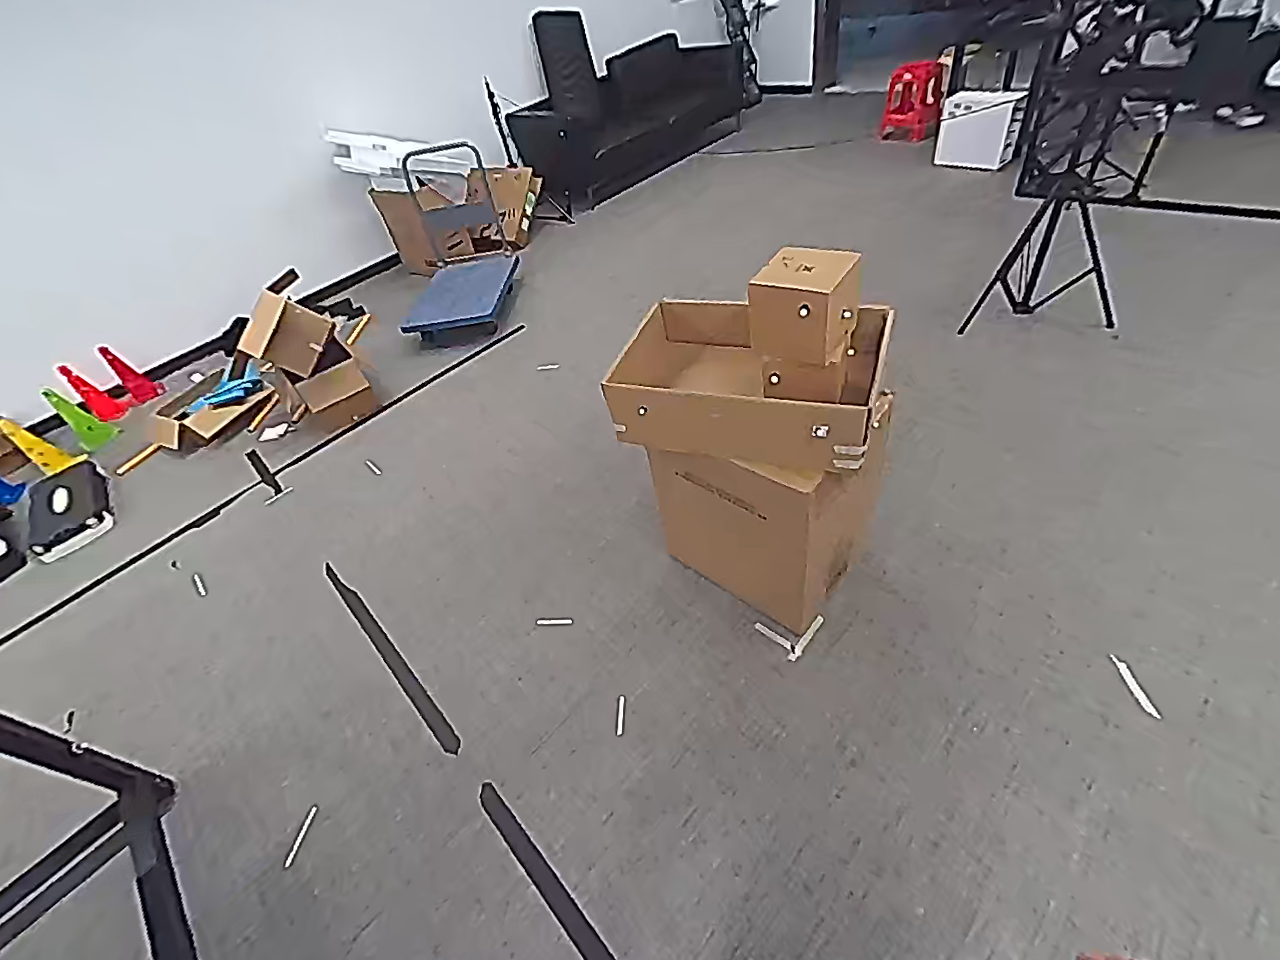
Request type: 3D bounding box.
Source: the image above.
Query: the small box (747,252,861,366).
[{"bbox_3d":[0.351,-0.364,1.157,0.179,0.176,0.168,21,54,33],"label":"small box"}]
